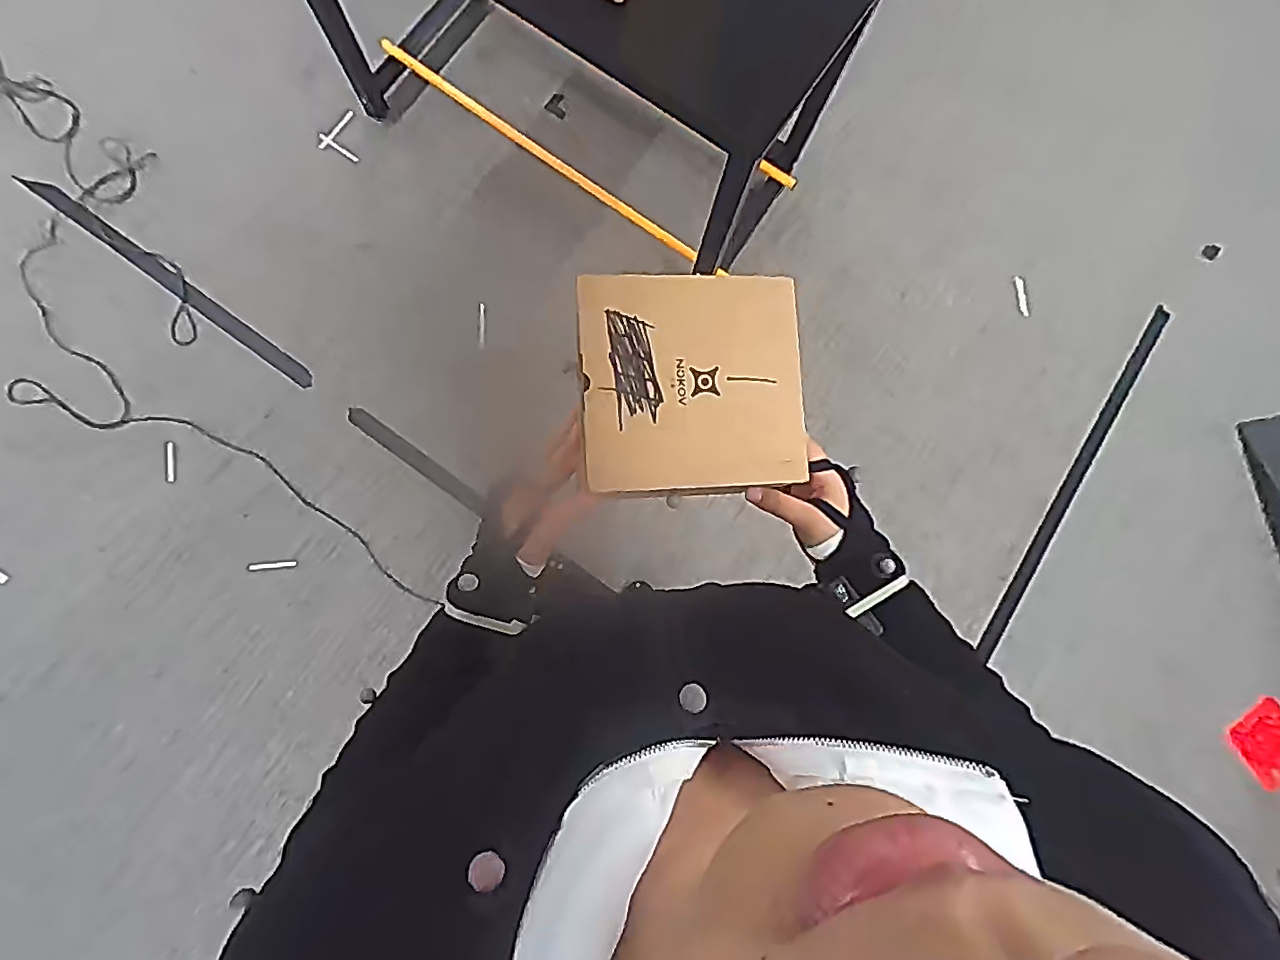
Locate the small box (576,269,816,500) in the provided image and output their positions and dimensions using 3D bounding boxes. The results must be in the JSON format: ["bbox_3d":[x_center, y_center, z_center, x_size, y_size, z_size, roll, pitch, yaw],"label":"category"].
[{"bbox_3d":[0.033,-0.071,0.483,0.179,0.176,0.168,-3,86,-9],"label":"small box"}]
